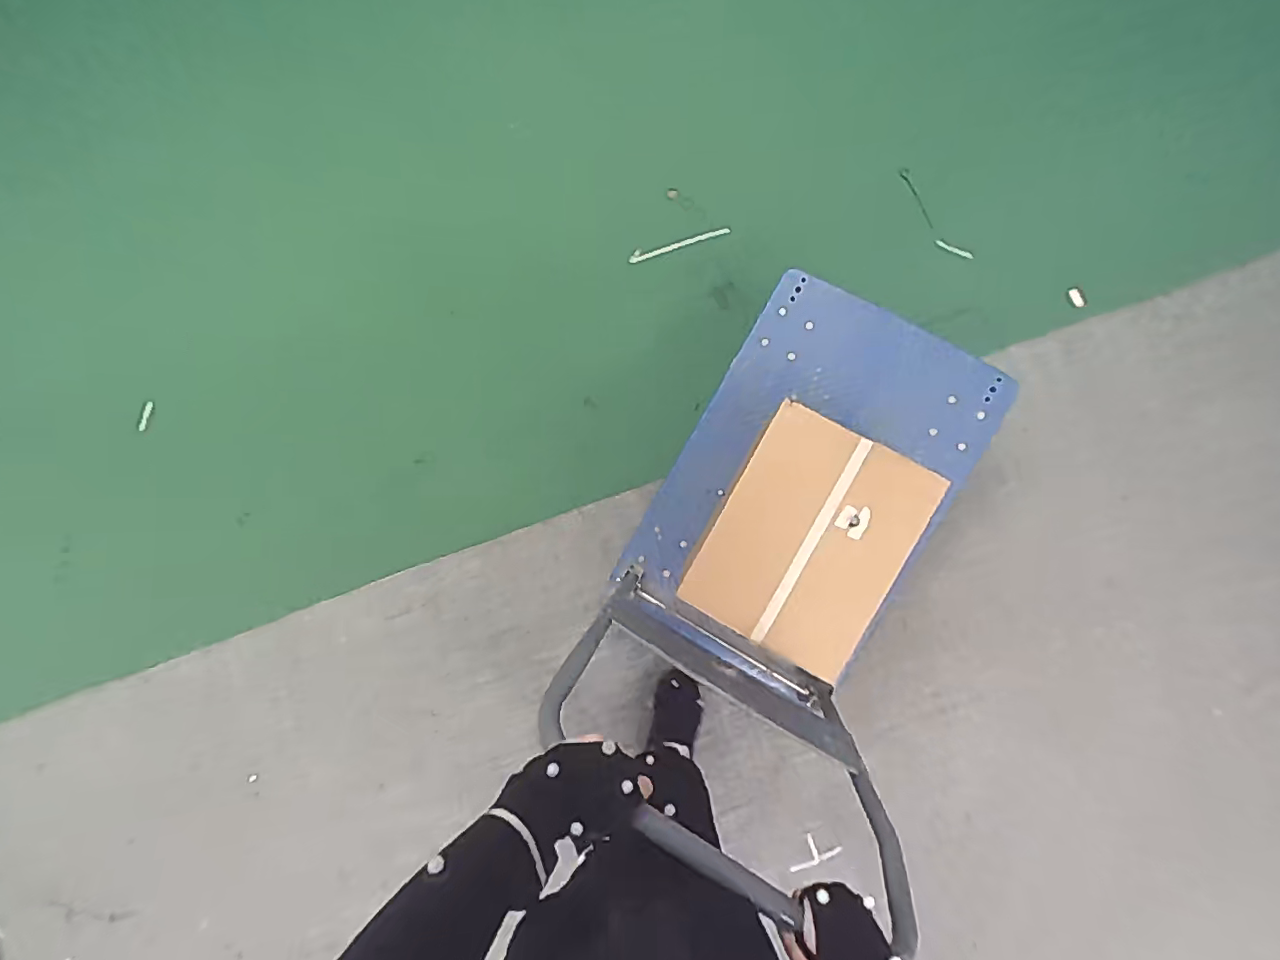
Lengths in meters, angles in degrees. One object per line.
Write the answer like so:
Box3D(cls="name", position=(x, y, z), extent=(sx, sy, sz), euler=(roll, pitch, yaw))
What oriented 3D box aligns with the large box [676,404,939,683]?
Box3D(cls="large box", position=(0.304, 0.113, 1.092), extent=(0.320, 0.320, 0.408), euler=(29, 93, 6))
